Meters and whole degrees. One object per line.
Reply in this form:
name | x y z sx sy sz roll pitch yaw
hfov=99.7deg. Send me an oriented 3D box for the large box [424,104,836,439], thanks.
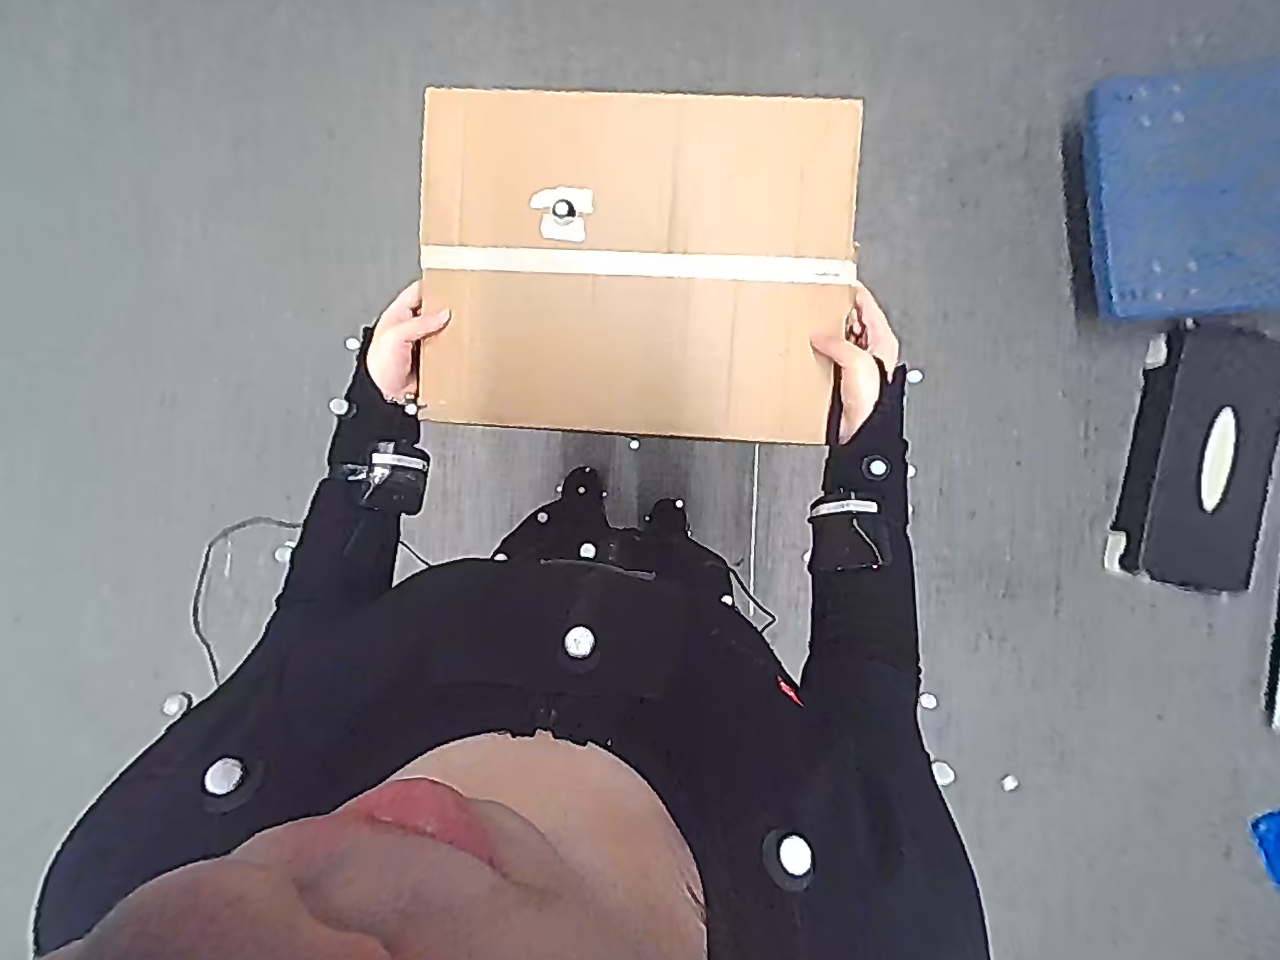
large box | -0.004 -0.212 0.673 0.408 0.320 0.320 2 94 4
